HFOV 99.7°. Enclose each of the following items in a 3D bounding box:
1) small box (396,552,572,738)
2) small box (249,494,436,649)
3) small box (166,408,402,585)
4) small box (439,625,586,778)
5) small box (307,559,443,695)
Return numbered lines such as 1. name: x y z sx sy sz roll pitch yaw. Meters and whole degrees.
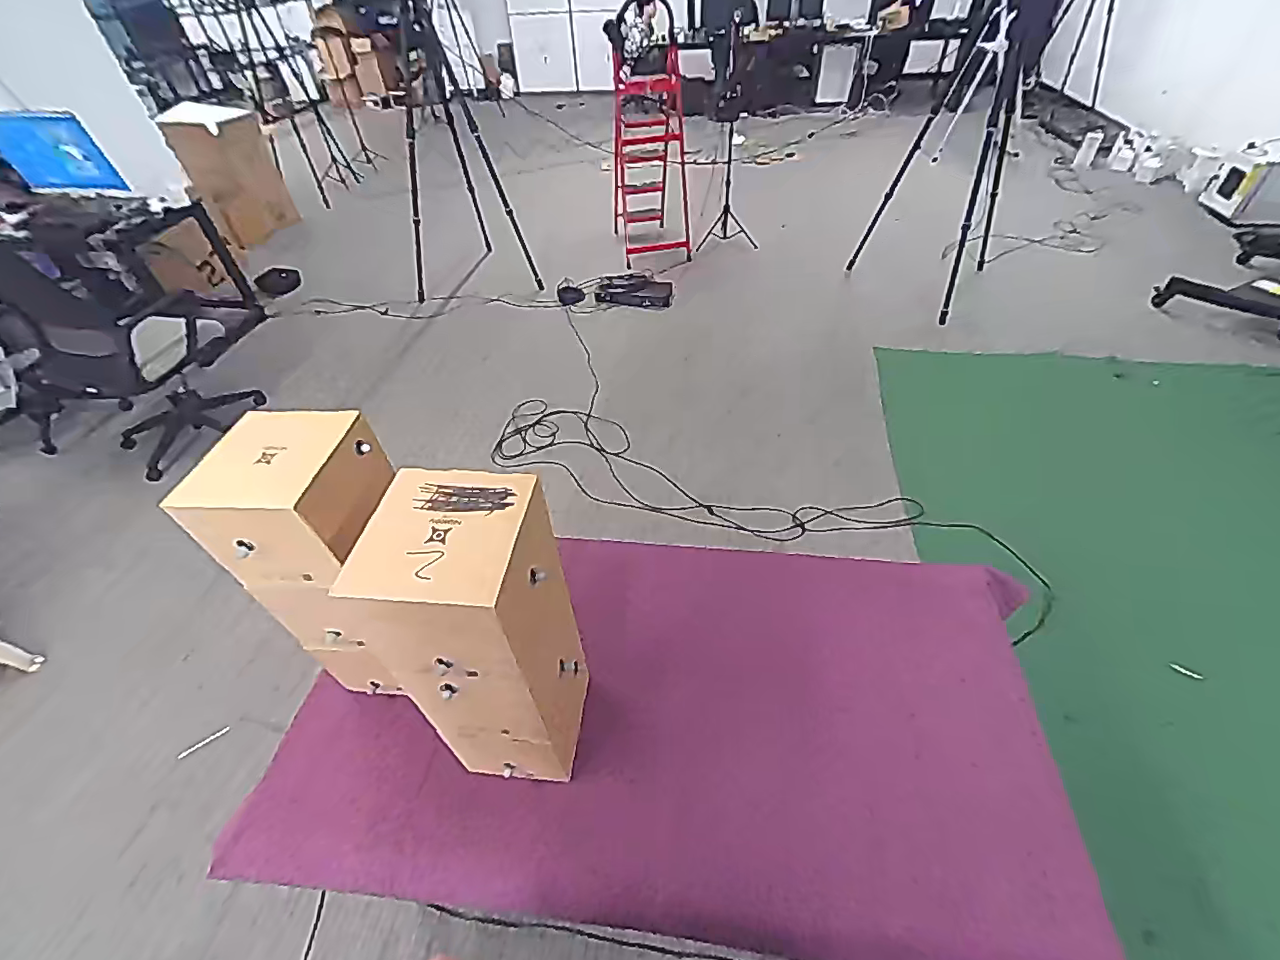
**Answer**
1. small box: -0.193 0.222 0.733 0.168 0.176 0.179 2 45 7
2. small box: -0.438 0.137 0.836 0.168 0.176 0.179 1 46 6
3. small box: -0.447 0.024 0.721 0.168 0.176 0.179 1 45 6
4. small box: -0.185 0.339 0.848 0.168 0.176 0.179 3 46 7
5. small box: -0.431 0.253 0.952 0.168 0.176 0.179 2 46 6
